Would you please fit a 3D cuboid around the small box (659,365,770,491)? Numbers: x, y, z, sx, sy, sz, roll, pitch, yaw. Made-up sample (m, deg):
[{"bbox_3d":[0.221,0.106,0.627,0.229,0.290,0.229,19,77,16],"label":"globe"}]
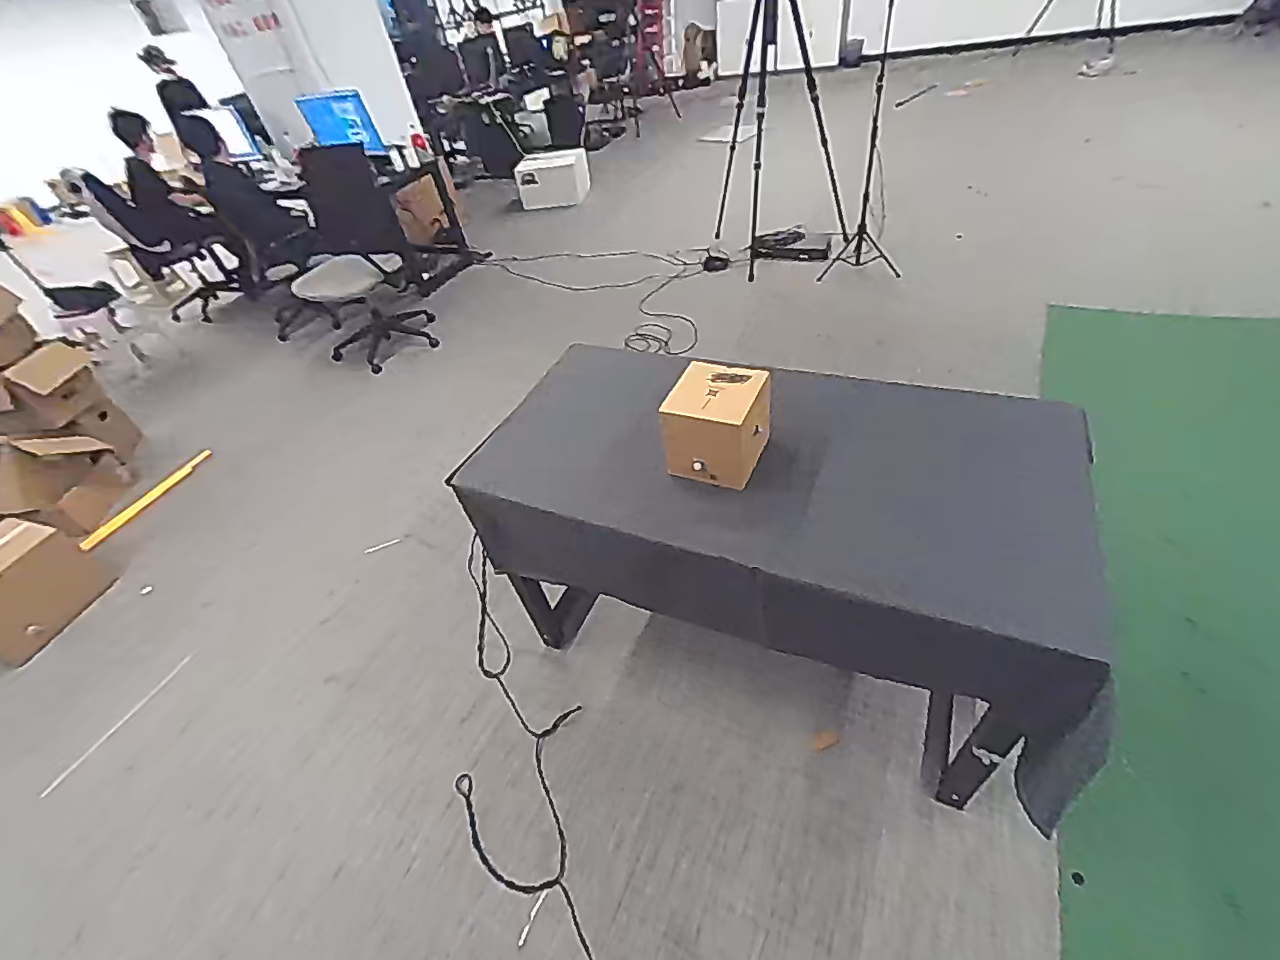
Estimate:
[{"bbox_3d":[0.154,-0.106,1.092,0.168,0.176,0.179,13,48,25],"label":"small box"}]
